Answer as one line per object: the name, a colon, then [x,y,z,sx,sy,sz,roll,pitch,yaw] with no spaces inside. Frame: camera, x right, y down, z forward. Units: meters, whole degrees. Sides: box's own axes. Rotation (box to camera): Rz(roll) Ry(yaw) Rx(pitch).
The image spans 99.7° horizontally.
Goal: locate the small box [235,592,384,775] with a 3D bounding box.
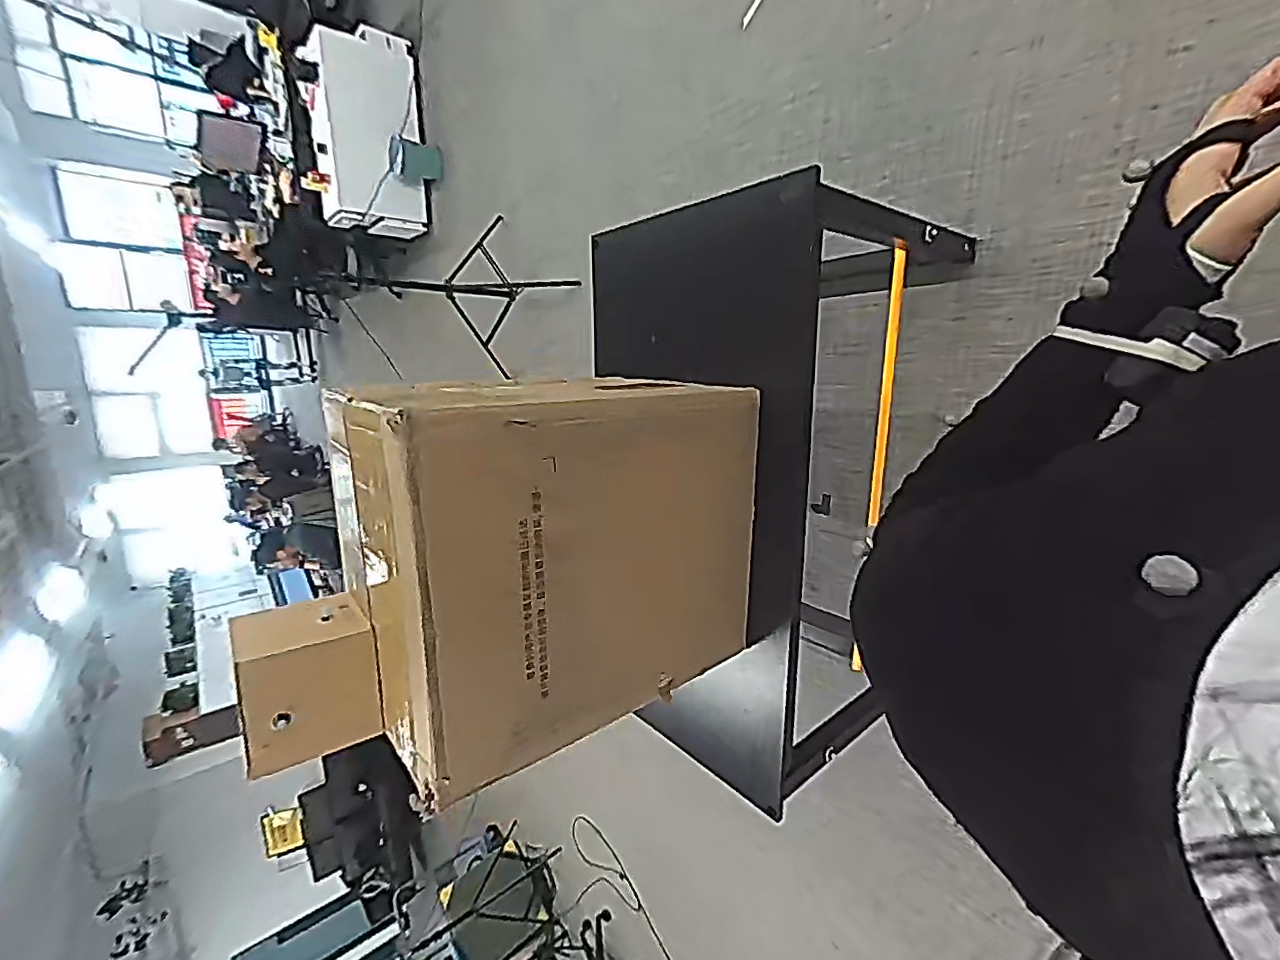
small box: [-0.497,0.291,0.818,0.168,0.176,0.179,16,109,50]
